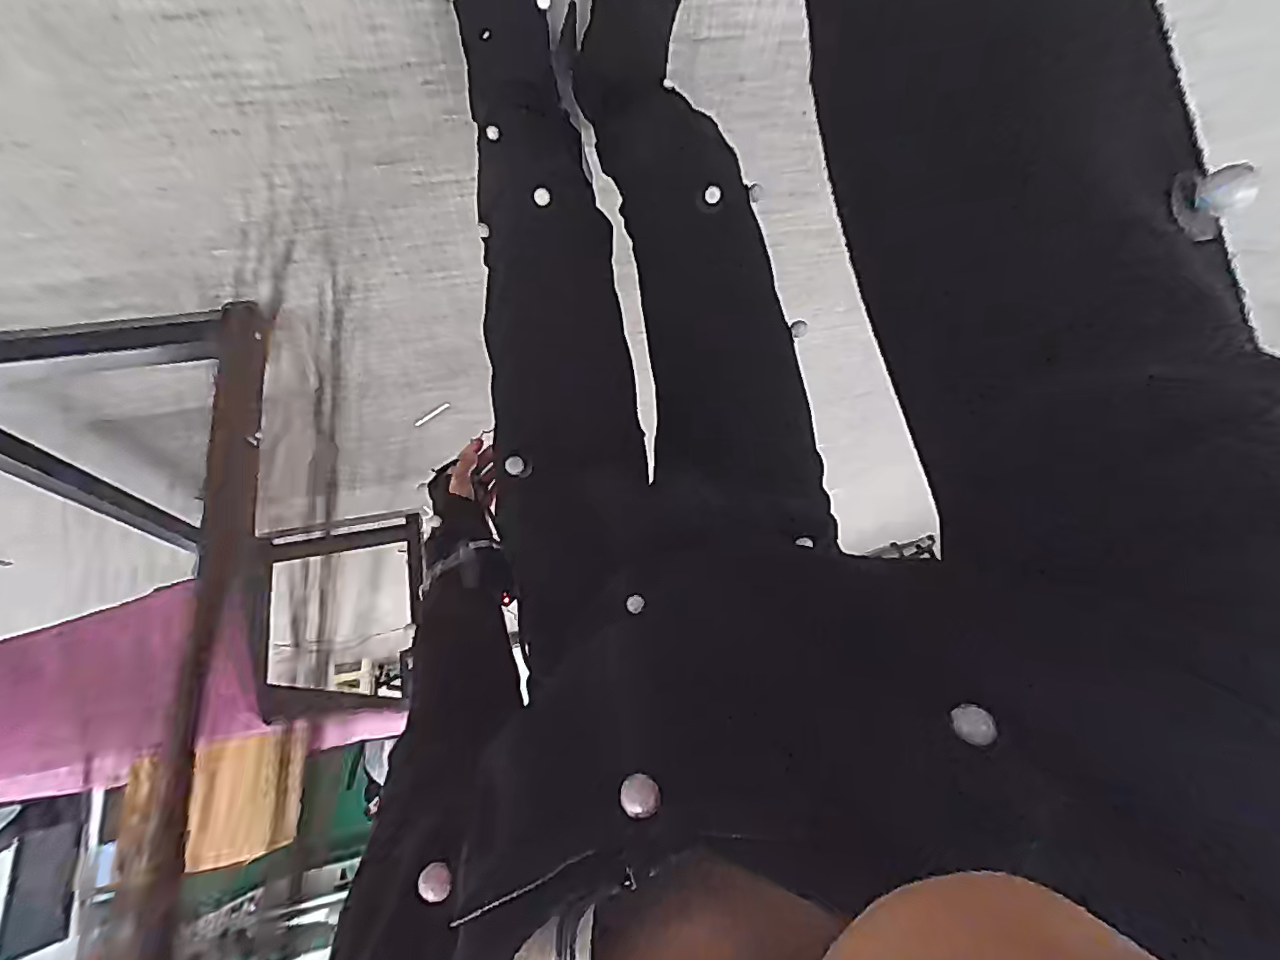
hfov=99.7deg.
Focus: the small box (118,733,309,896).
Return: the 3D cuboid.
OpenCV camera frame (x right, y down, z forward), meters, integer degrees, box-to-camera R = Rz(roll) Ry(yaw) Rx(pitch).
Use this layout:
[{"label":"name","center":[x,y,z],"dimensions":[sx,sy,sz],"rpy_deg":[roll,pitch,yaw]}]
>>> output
[{"label":"small box","center":[-0.641,0.501,0.840],"dimensions":[0.179,0.176,0.168],"rpy_deg":[-10,159,-8]}]
